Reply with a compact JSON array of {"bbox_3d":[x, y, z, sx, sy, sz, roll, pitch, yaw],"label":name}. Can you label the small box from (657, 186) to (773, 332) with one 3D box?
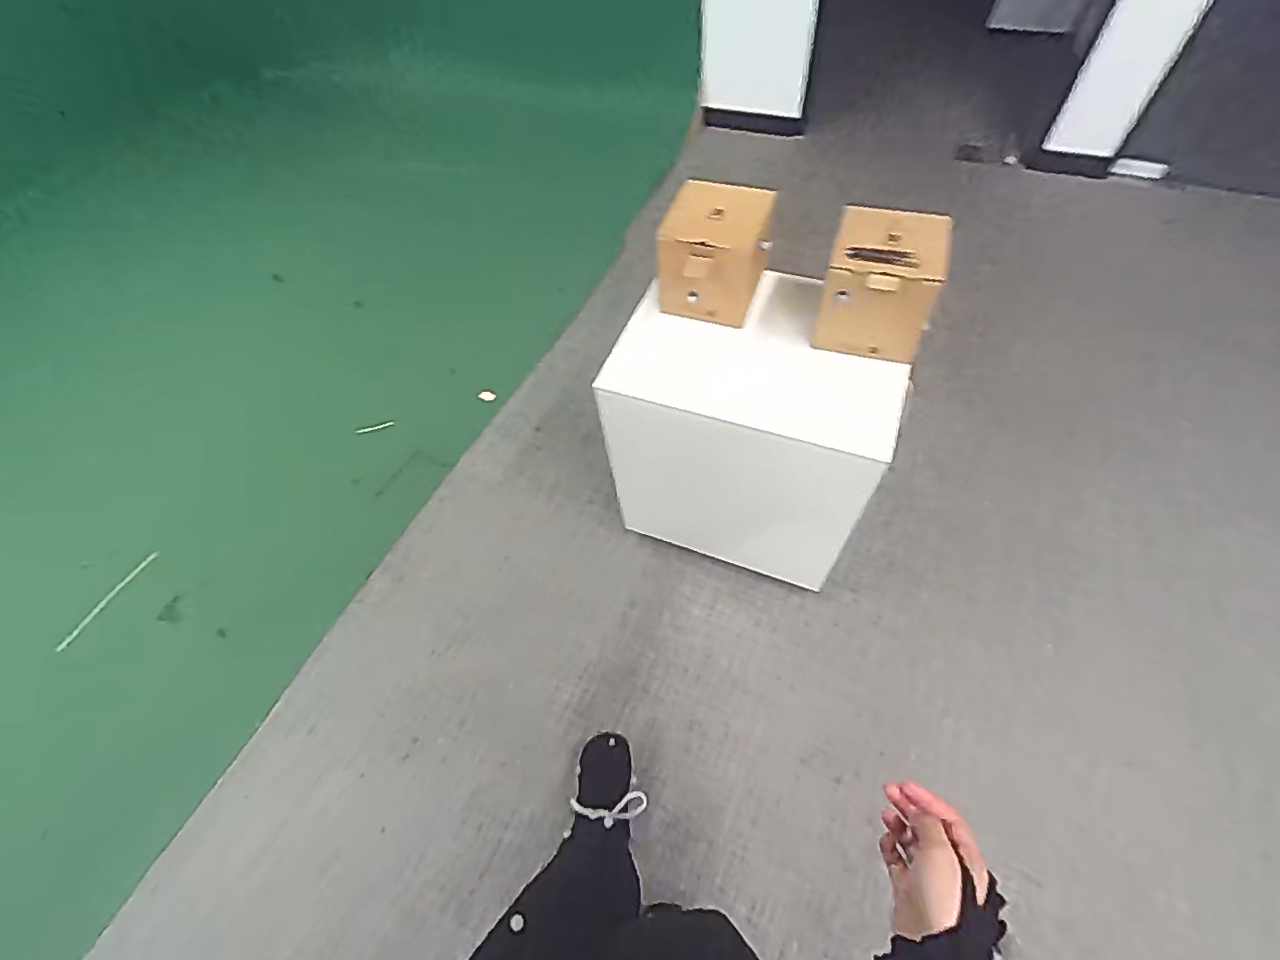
[{"bbox_3d":[0.137,-0.408,1.005,0.168,0.176,0.179,16,62,14],"label":"small box"}]
